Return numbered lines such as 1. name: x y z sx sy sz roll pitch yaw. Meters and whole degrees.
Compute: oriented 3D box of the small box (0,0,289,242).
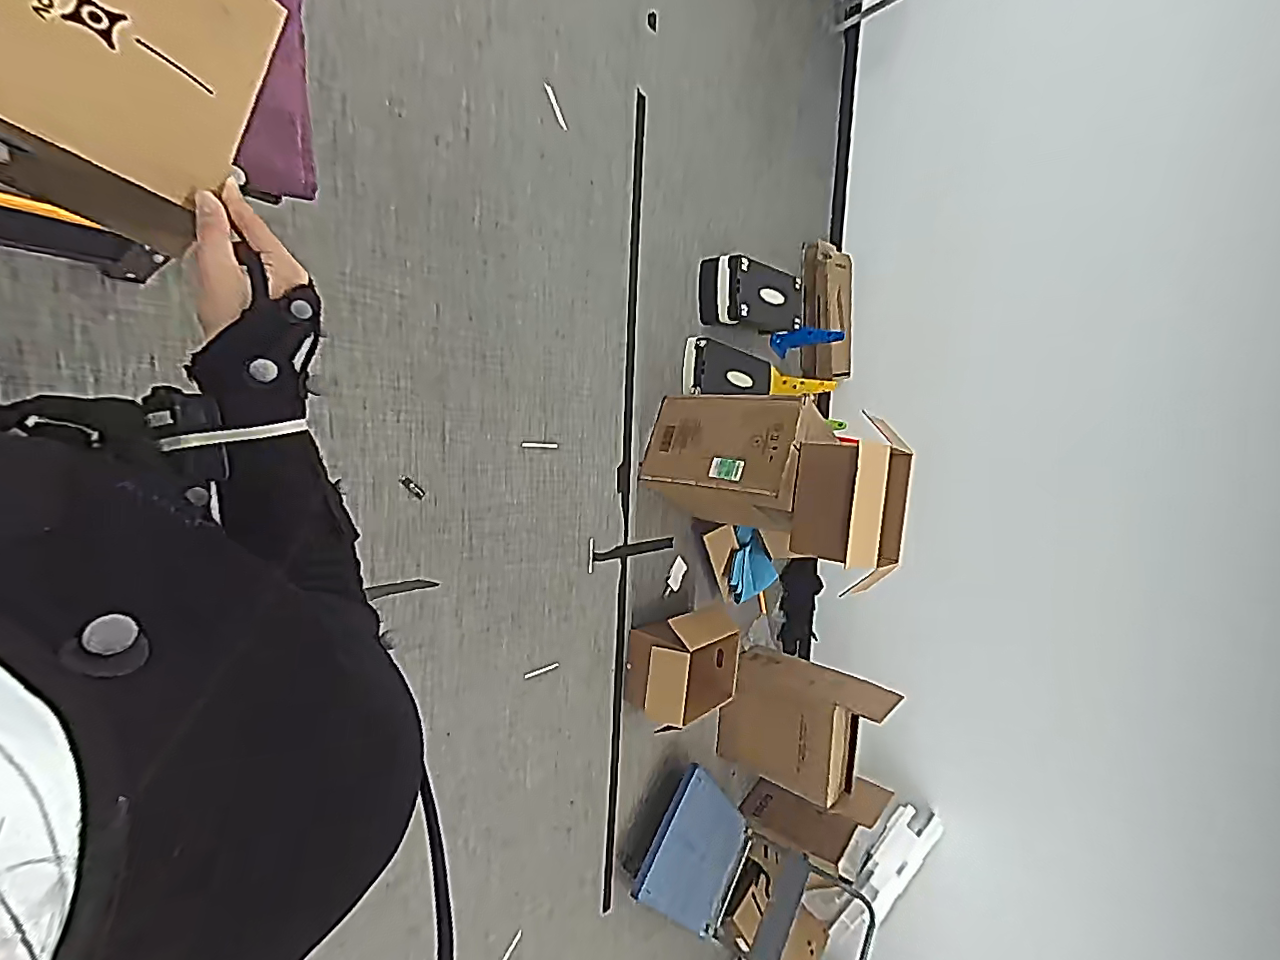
1. small box: -0.385 -0.290 0.371 0.179 0.176 0.168 22 81 -47
